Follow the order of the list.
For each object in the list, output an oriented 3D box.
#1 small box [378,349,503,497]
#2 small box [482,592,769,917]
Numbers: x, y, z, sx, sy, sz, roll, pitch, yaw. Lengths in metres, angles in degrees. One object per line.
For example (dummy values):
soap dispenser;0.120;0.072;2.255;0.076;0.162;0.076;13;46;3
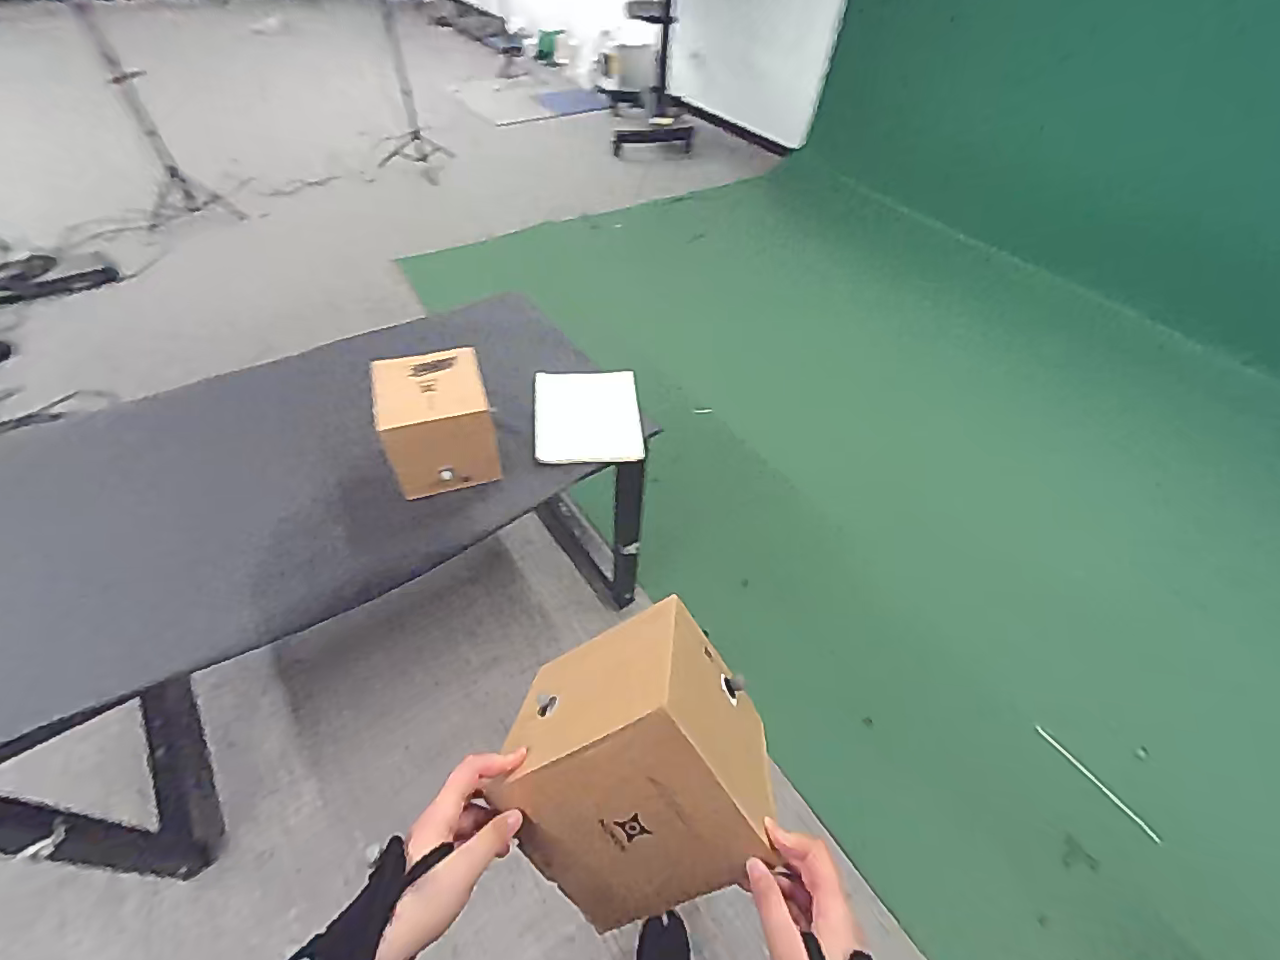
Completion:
small box;-0.345;-0.099;0.944;0.168;0.176;0.179;-14;52;-14
small box;-0.006;0.239;0.501;0.179;0.168;0.176;-34;12;13
